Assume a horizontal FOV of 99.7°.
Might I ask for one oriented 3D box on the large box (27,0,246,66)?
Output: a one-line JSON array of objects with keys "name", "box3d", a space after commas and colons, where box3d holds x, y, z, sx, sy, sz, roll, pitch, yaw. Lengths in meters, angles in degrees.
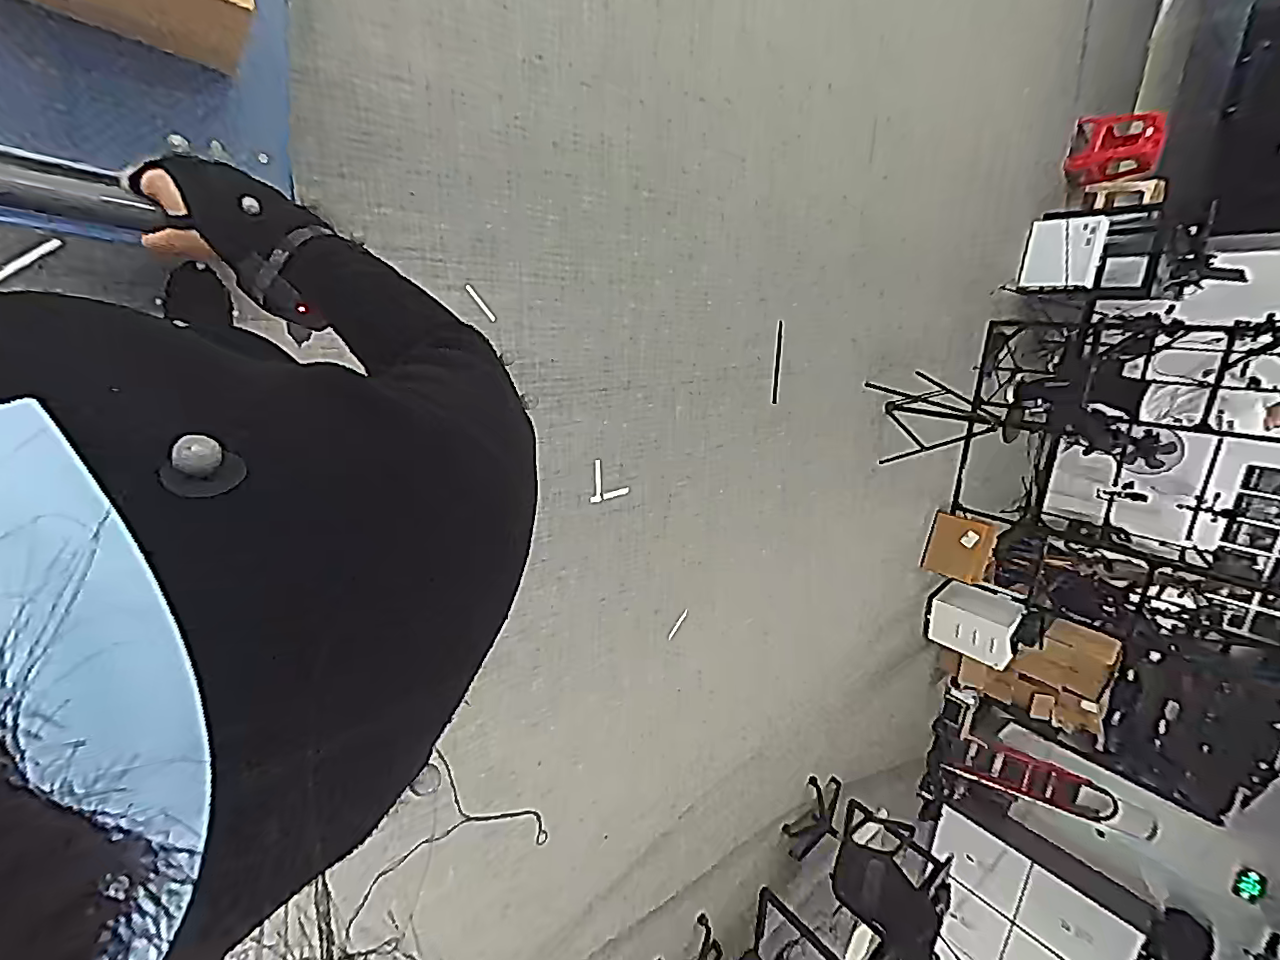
[{"name": "large box", "box3d": [-0.767, -0.822, 0.689, 0.408, 0.320, 0.320, -3, 106, -40]}]
